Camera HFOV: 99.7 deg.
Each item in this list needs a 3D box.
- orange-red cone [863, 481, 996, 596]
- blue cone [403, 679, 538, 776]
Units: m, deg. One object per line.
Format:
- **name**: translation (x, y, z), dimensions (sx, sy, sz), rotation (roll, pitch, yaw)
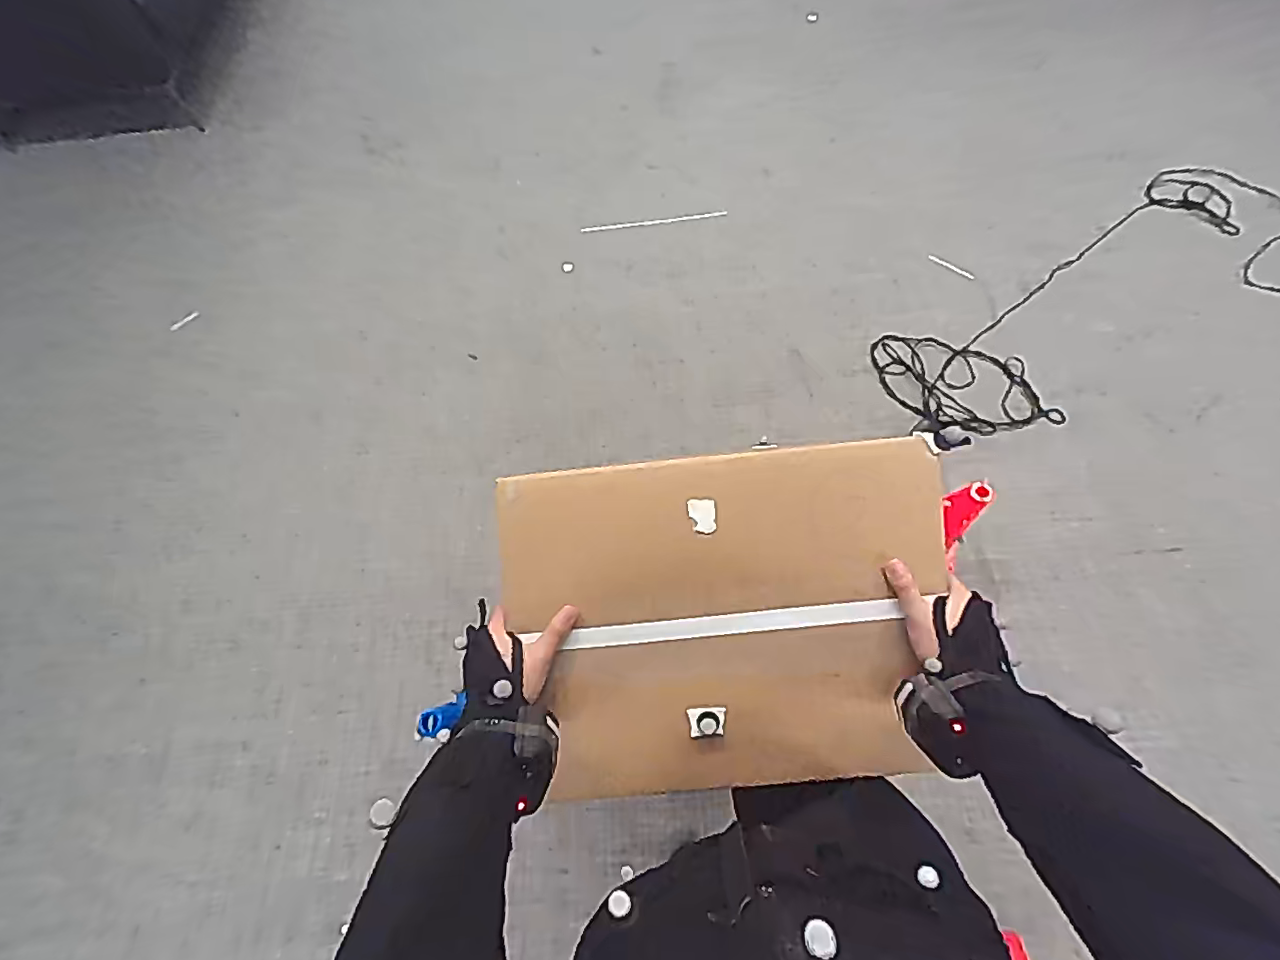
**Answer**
- **orange-red cone**: translation (0.615, 0.085, 1.092), dimensions (0.199, 0.360, 0.198), rotation (14, 69, 11)
- **blue cone**: translation (-0.336, 0.473, 1.041), dimensions (0.192, 0.380, 0.193), rotation (-4, 65, 5)
